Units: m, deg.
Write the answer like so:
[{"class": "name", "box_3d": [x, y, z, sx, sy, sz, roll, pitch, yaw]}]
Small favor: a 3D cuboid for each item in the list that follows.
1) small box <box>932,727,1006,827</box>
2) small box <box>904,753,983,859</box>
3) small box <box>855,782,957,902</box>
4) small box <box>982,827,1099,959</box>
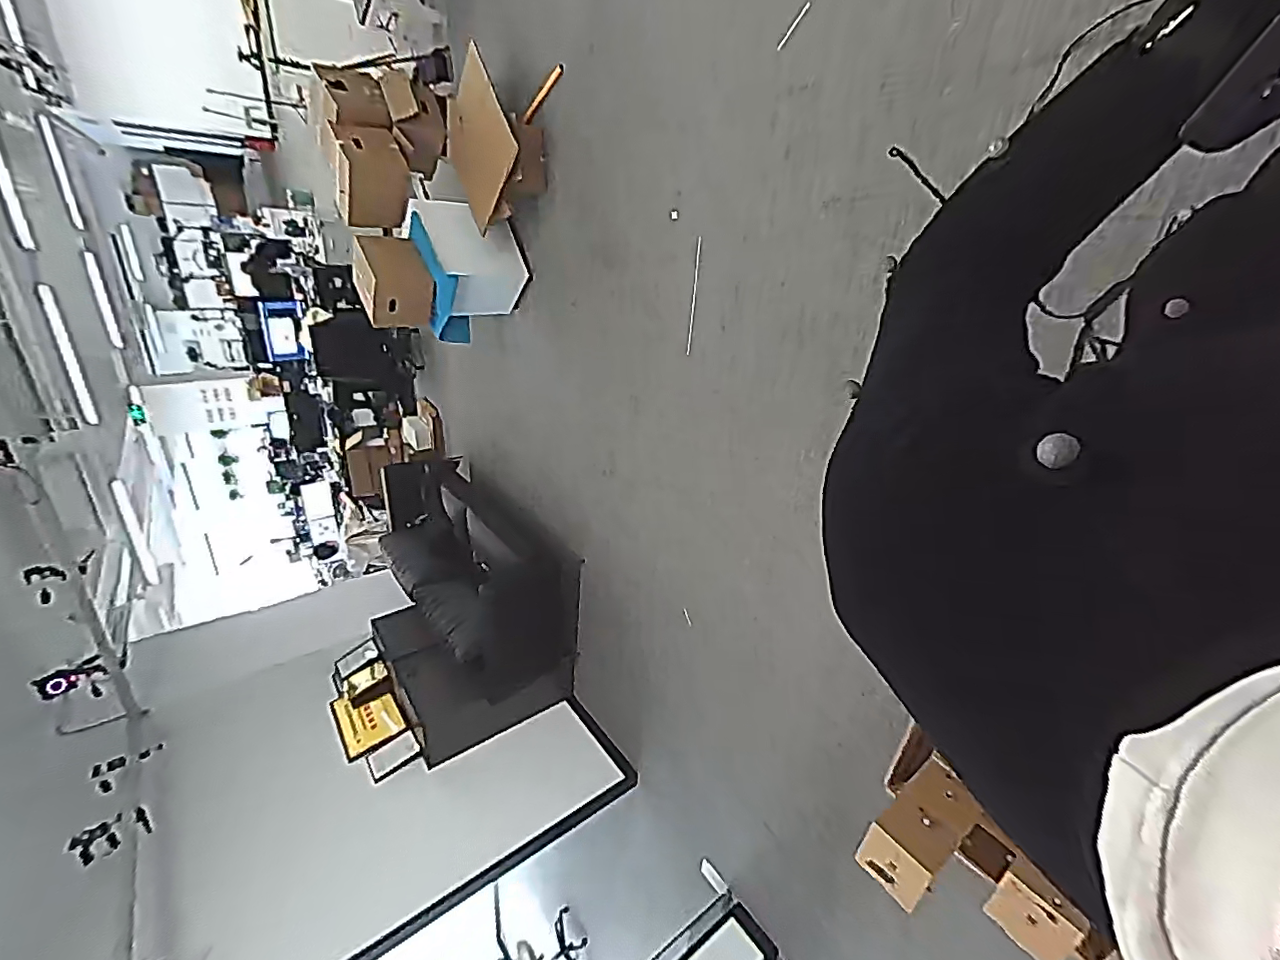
[{"class": "small box", "box_3d": [0.979, 0.896, 1.648, 0.168, 0.176, 0.179, 35, 128, 42]}, {"class": "small box", "box_3d": [0.849, 0.932, 1.554, 0.168, 0.176, 0.179, 35, 129, 42]}, {"class": "small box", "box_3d": [0.719, 0.970, 1.460, 0.168, 0.176, 0.179, 34, 127, 41]}, {"class": "small box", "box_3d": [1.010, 1.035, 1.363, 0.168, 0.176, 0.179, 34, 128, 44]}]
